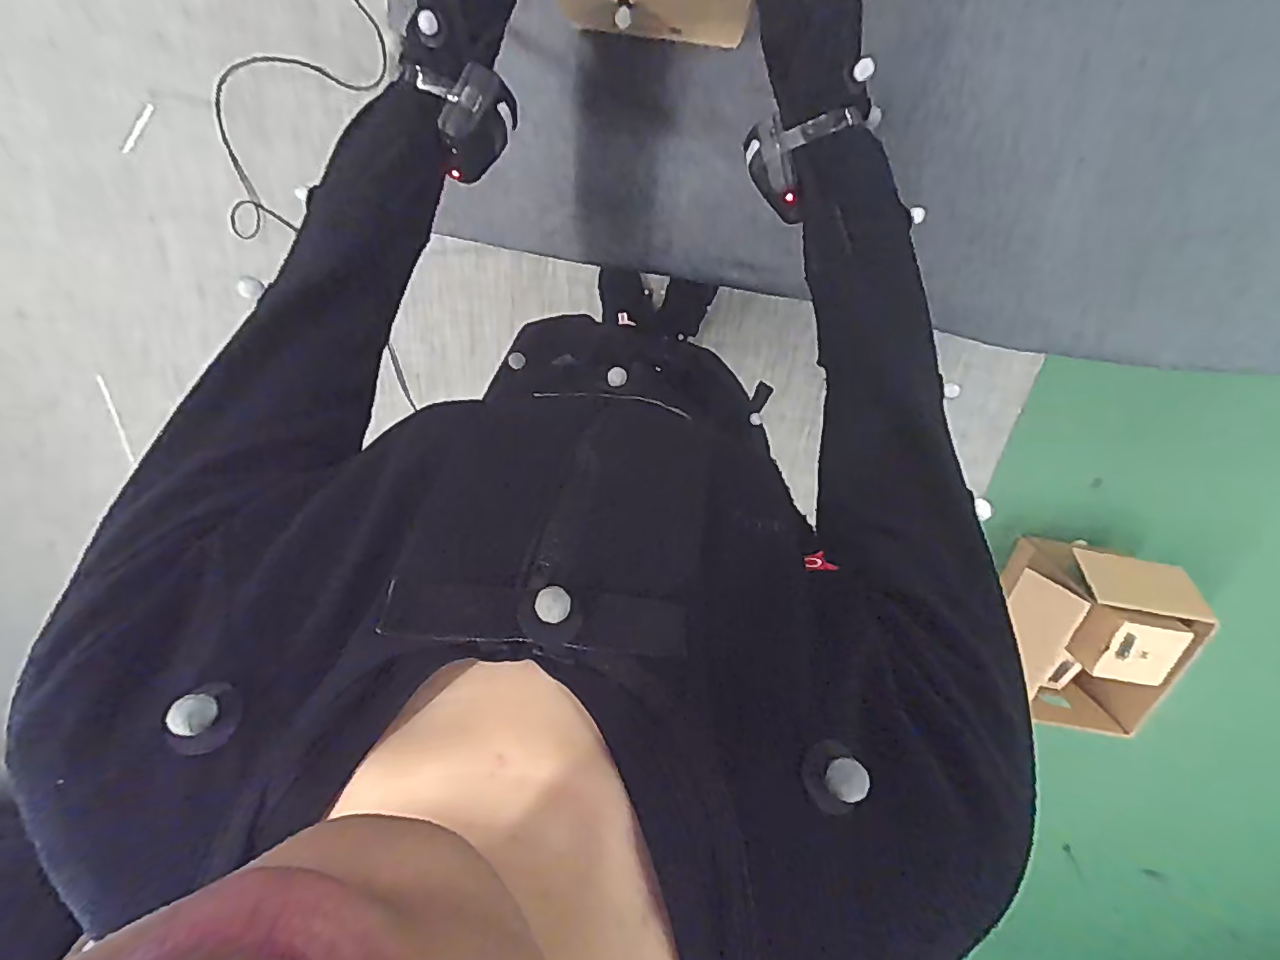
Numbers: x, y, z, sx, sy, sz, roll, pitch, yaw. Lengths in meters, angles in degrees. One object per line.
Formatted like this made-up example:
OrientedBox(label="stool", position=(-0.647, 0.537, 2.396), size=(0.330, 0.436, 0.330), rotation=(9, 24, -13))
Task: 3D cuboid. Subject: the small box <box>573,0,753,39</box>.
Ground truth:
OrientedBox(label="small box", position=(0.023, -0.475, 0.418), size=(0.168, 0.176, 0.179), rotation=(8, 117, 1))
